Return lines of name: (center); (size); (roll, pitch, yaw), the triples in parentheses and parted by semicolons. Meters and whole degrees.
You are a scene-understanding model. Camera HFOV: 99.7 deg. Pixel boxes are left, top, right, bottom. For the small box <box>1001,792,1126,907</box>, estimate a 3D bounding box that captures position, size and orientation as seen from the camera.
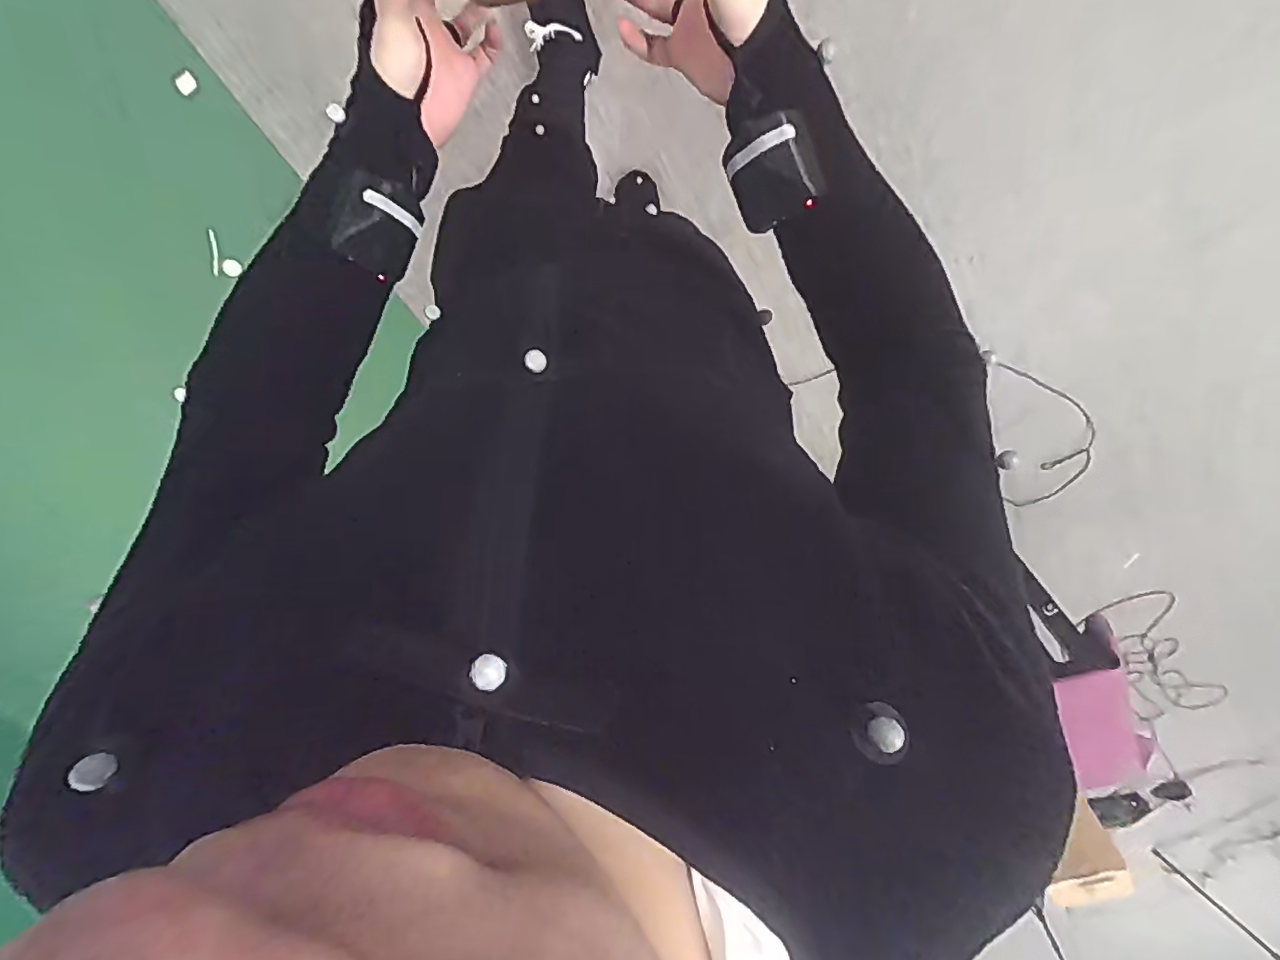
small box: (0.975, 0.852, 1.256); (0.168, 0.176, 0.179); (-27, 123, 17)
